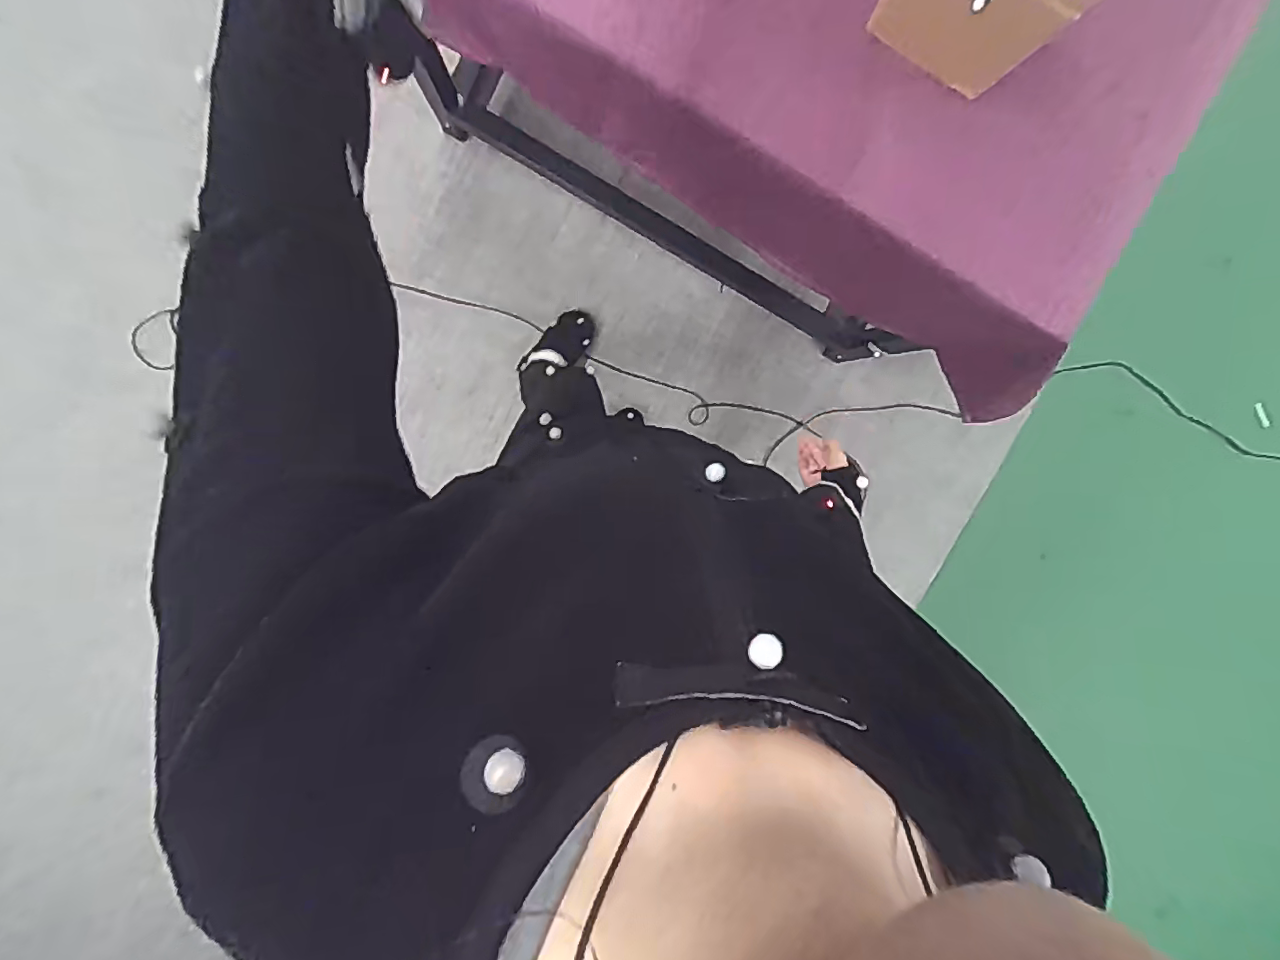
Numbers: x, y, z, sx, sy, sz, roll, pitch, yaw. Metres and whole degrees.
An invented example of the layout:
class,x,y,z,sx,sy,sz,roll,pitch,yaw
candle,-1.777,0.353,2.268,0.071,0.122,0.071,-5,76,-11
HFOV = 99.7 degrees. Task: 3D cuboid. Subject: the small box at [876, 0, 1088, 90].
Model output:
class,x,y,z,sx,sy,sz,roll,pitch,yaw
small box,0.414,-0.606,0.623,0.179,0.176,0.168,27,96,-8
